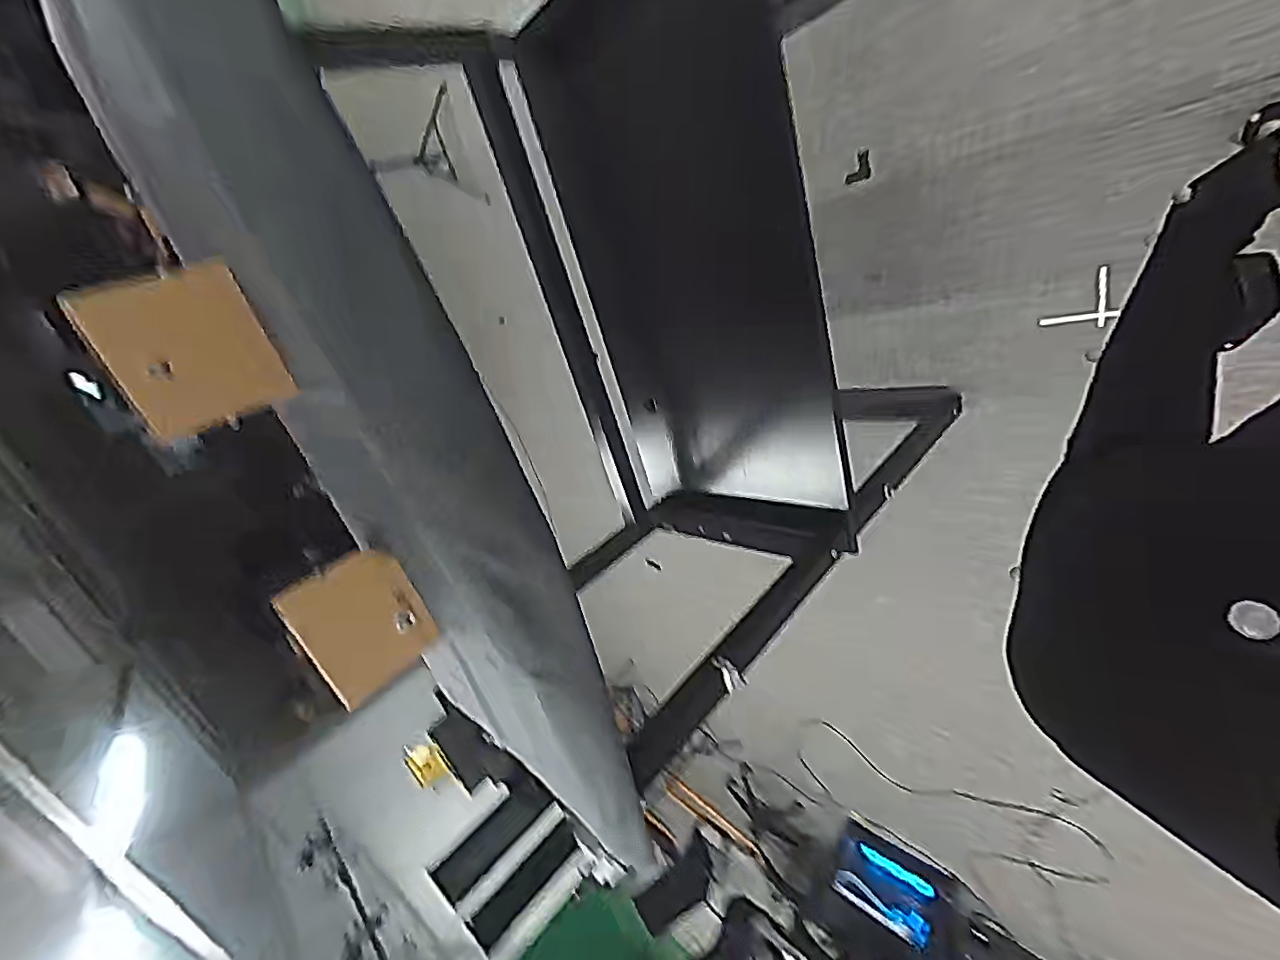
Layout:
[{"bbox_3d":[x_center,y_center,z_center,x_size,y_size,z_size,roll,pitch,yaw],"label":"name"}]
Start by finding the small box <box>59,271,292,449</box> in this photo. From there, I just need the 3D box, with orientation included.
[{"bbox_3d":[-0.606,-0.160,0.726,0.168,0.176,0.179,8,124,47],"label":"small box"}]

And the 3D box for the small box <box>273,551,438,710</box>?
[{"bbox_3d":[-0.462,0.233,0.888,0.179,0.176,0.168,0,120,50],"label":"small box"}]
